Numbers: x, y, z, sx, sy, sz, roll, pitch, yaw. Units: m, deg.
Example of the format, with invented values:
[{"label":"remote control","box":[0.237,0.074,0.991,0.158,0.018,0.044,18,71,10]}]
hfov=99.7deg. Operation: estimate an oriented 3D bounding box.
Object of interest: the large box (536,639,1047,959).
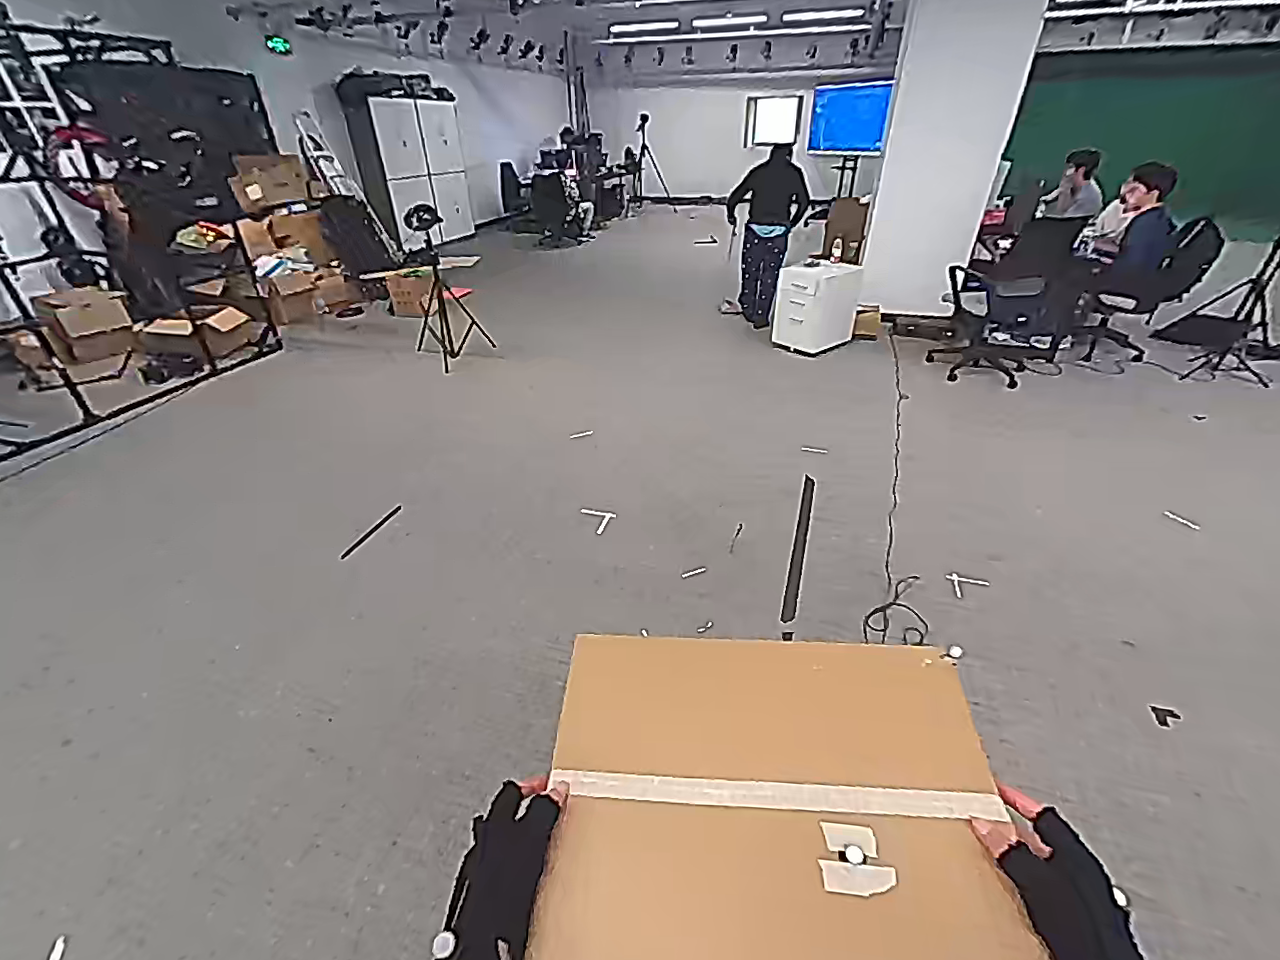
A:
[{"label":"large box","box":[0.132,0.401,0.609,0.408,0.320,0.320,1,45,7]}]
